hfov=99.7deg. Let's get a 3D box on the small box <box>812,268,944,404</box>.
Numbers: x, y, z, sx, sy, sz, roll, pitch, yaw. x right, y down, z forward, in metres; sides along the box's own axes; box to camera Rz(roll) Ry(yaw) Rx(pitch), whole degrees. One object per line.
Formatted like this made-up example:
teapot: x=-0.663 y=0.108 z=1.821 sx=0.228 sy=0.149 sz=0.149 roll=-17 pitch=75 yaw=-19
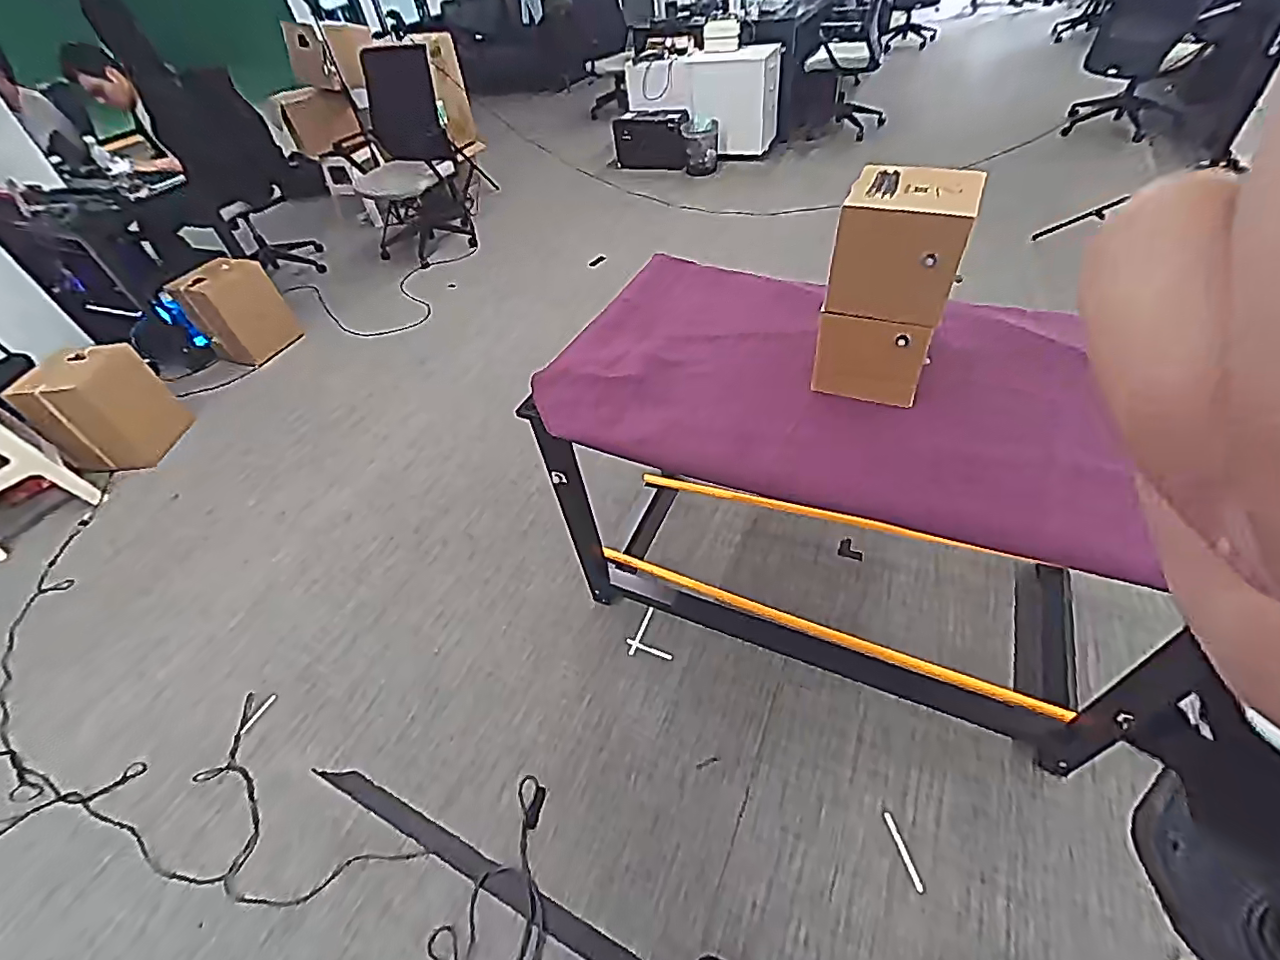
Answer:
small box: x=0.419 y=-0.256 z=0.968 sx=0.179 sy=0.176 sz=0.168 roll=16 pitch=51 yaw=21
